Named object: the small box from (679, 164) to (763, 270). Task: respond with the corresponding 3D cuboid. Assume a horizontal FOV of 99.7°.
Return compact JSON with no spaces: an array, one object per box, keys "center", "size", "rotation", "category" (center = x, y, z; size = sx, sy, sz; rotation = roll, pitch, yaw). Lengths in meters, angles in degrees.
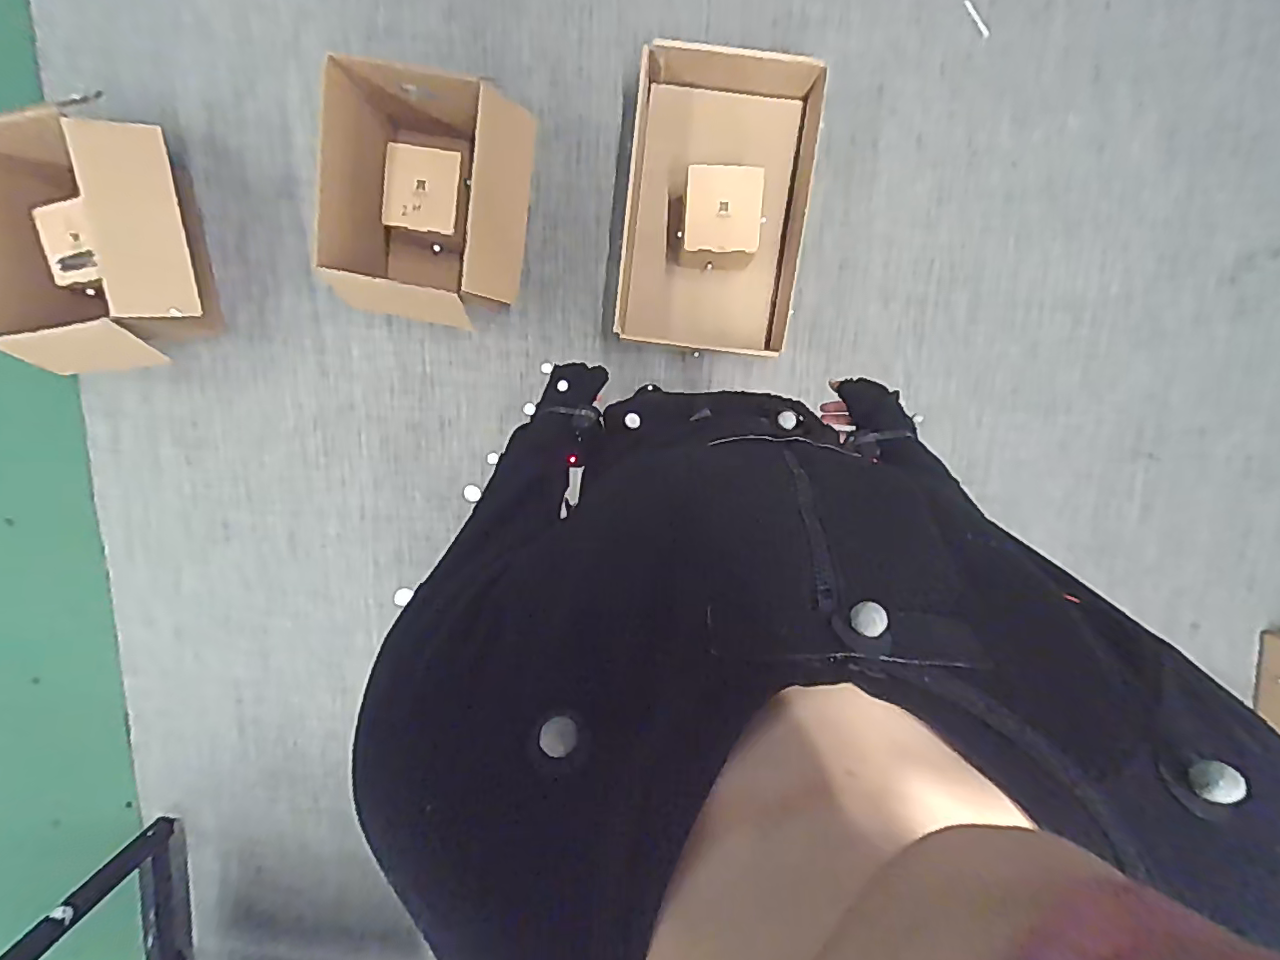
[{"center":[0.179,-0.595,1.239],"size":[0.168,0.176,0.179],"rotation":[2,100,1],"category":"small box"}]
